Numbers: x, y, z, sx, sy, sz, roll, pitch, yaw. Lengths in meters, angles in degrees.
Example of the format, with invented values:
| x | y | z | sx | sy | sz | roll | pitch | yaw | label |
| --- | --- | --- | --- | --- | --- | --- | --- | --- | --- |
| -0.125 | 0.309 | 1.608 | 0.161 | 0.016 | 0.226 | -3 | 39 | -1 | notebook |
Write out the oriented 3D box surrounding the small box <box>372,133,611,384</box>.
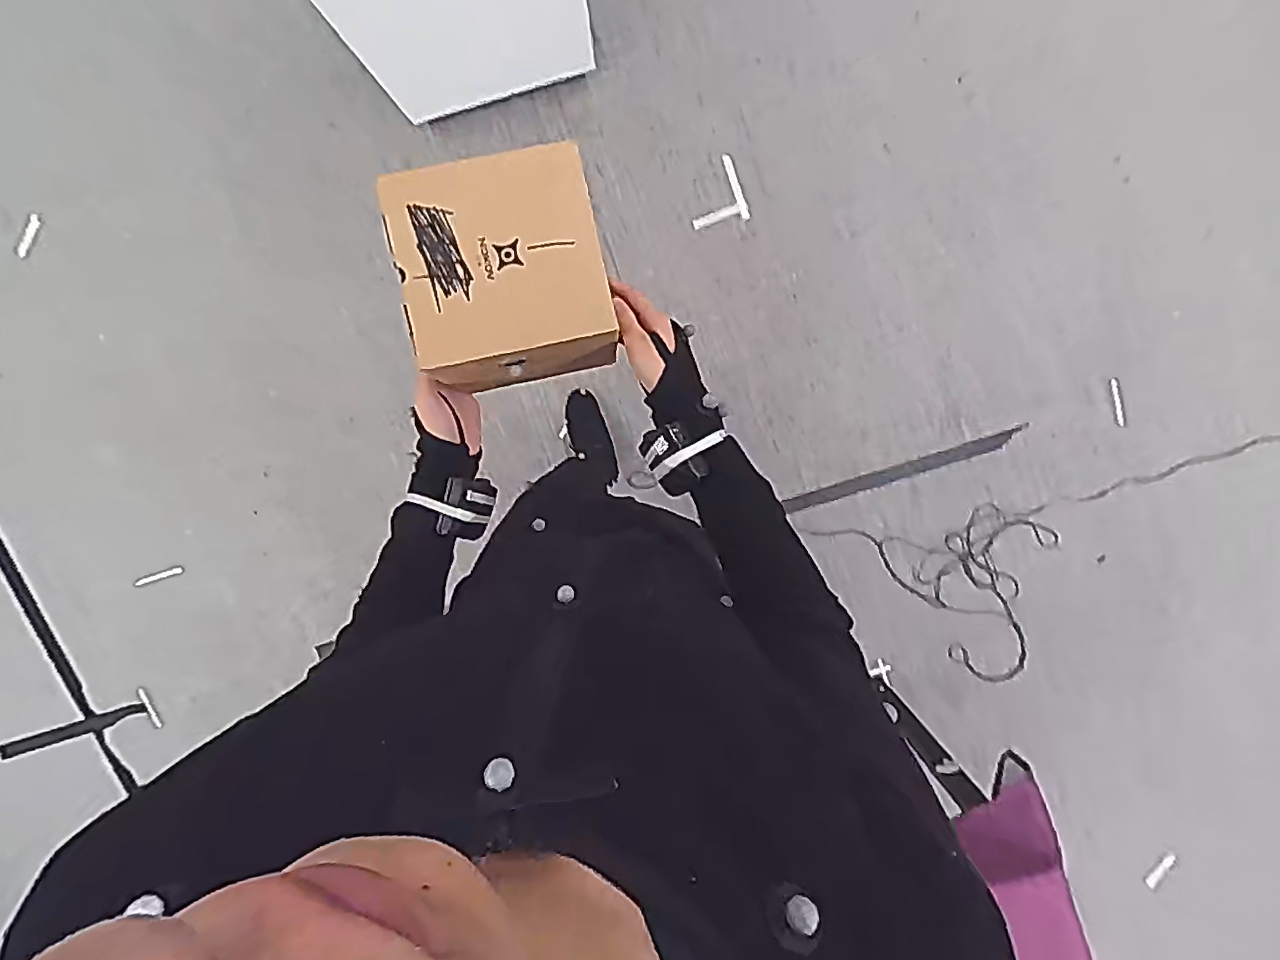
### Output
| x | y | z | sx | sy | sz | roll | pitch | yaw | label |
| --- | --- | --- | --- | --- | --- | --- | --- | --- | --- |
| -0.129 | -0.201 | 0.541 | 0.179 | 0.176 | 0.168 | -13 | 93 | -3 | small box |
